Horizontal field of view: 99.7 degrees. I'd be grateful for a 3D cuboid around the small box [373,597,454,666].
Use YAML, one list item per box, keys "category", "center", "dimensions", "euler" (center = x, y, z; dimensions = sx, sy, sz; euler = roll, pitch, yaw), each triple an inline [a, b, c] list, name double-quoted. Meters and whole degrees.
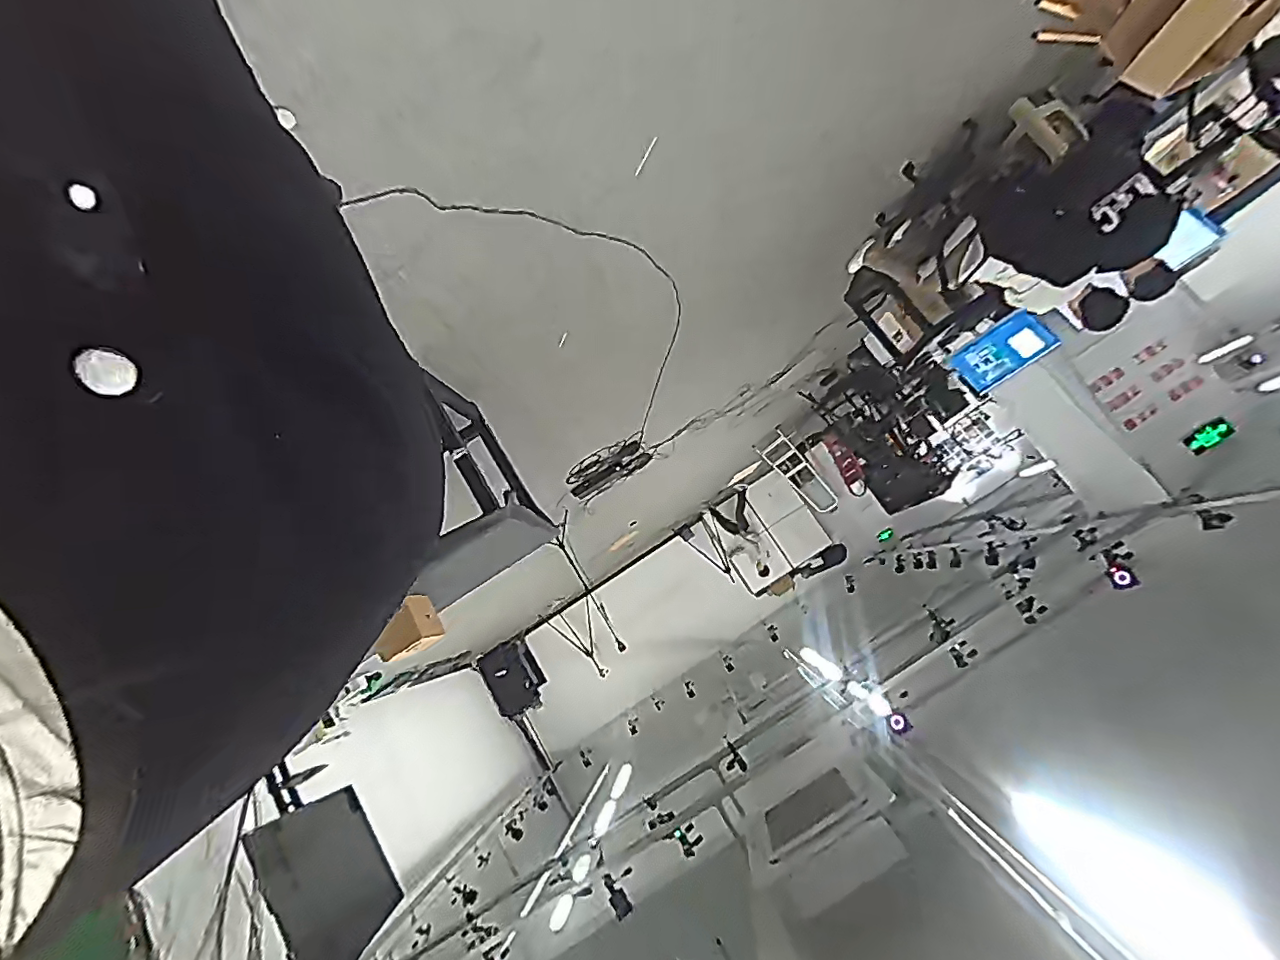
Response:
- category: "small box"
  center: [-0.803, 0.528, 1.911]
  dimensions: [0.168, 0.176, 0.179]
  euler: [-35, 166, 3]
